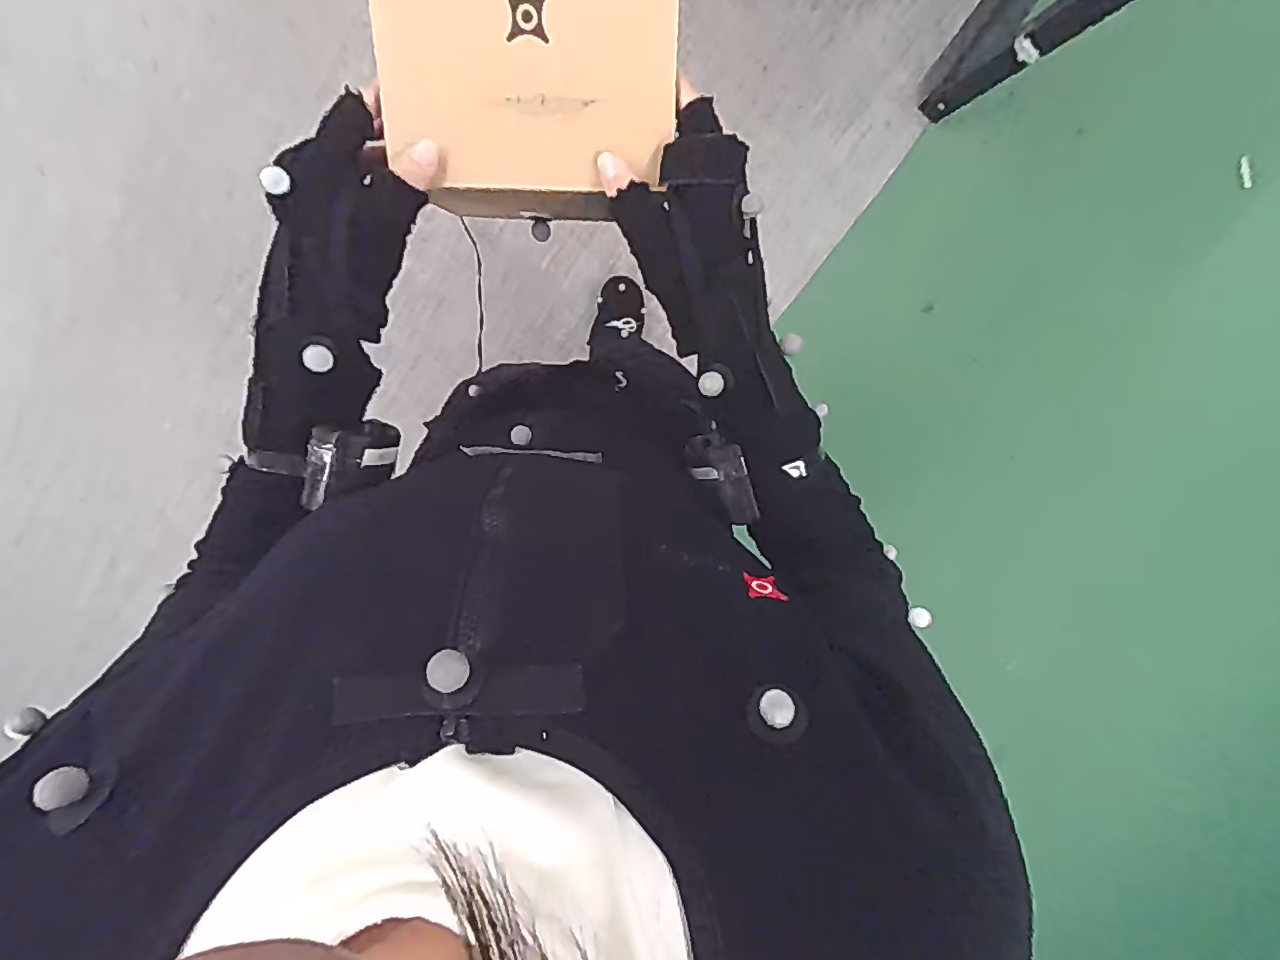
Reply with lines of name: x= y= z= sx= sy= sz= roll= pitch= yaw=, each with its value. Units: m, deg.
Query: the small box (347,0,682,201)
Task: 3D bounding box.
small box: x=-0.063 y=-0.284 z=0.333 sx=0.168 sy=0.176 sz=0.179 roll=2 pitch=111 yaw=-2
